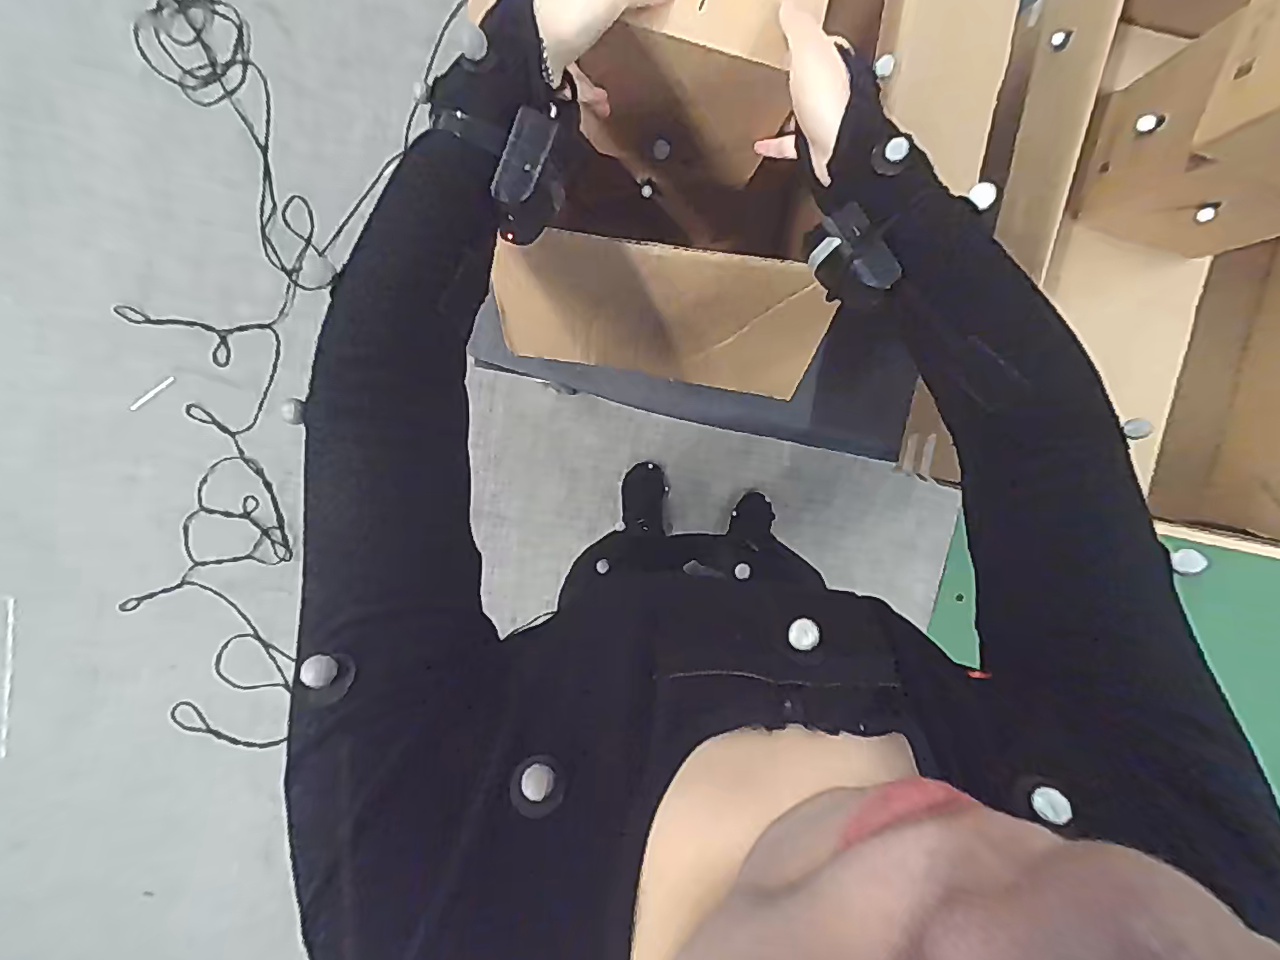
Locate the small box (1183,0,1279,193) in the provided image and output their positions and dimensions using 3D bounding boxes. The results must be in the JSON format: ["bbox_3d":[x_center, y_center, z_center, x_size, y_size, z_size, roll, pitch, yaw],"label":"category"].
[{"bbox_3d":[0.632,-0.364,0.450,0.179,0.176,0.168,18,96,-4],"label":"small box"}]

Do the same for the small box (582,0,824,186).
[{"bbox_3d":[0.048,-0.384,0.446,0.168,0.176,0.179,12,93,-6],"label":"small box"}]
